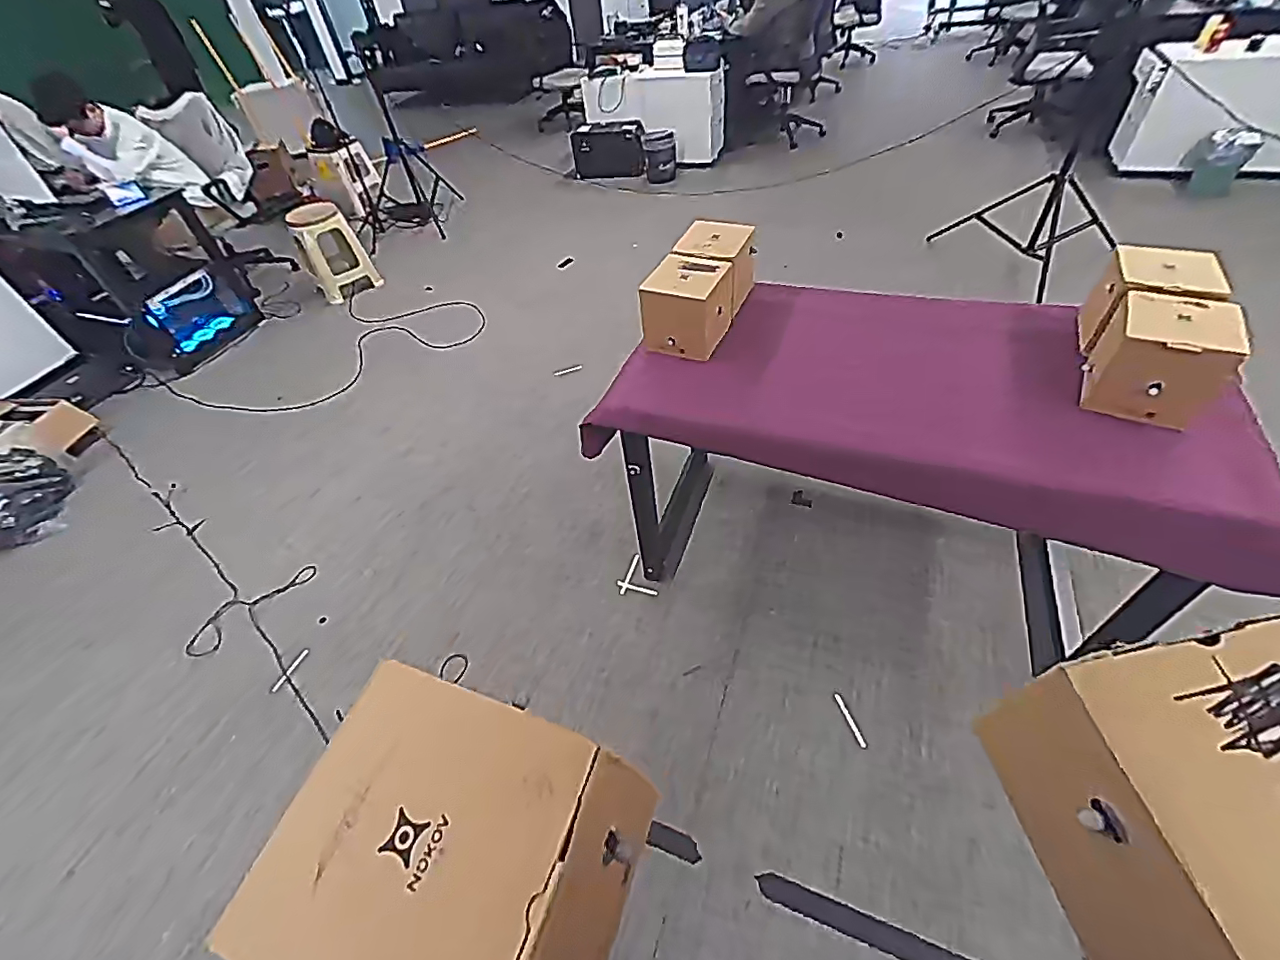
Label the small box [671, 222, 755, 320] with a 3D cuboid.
[{"bbox_3d":[0.191,-0.547,1.413,0.168,0.176,0.179,16,52,21],"label":"small box"}]

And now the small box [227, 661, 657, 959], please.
[{"bbox_3d":[-0.103,0.250,0.365,0.179,0.176,0.168,9,56,23],"label":"small box"}]

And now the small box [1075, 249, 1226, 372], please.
[{"bbox_3d":[1.042,-0.353,1.125,0.168,0.176,0.179,16,51,20],"label":"small box"}]

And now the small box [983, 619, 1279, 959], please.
[{"bbox_3d":[0.350,0.202,0.324,0.168,0.176,0.179,-14,56,3],"label":"small box"}]
